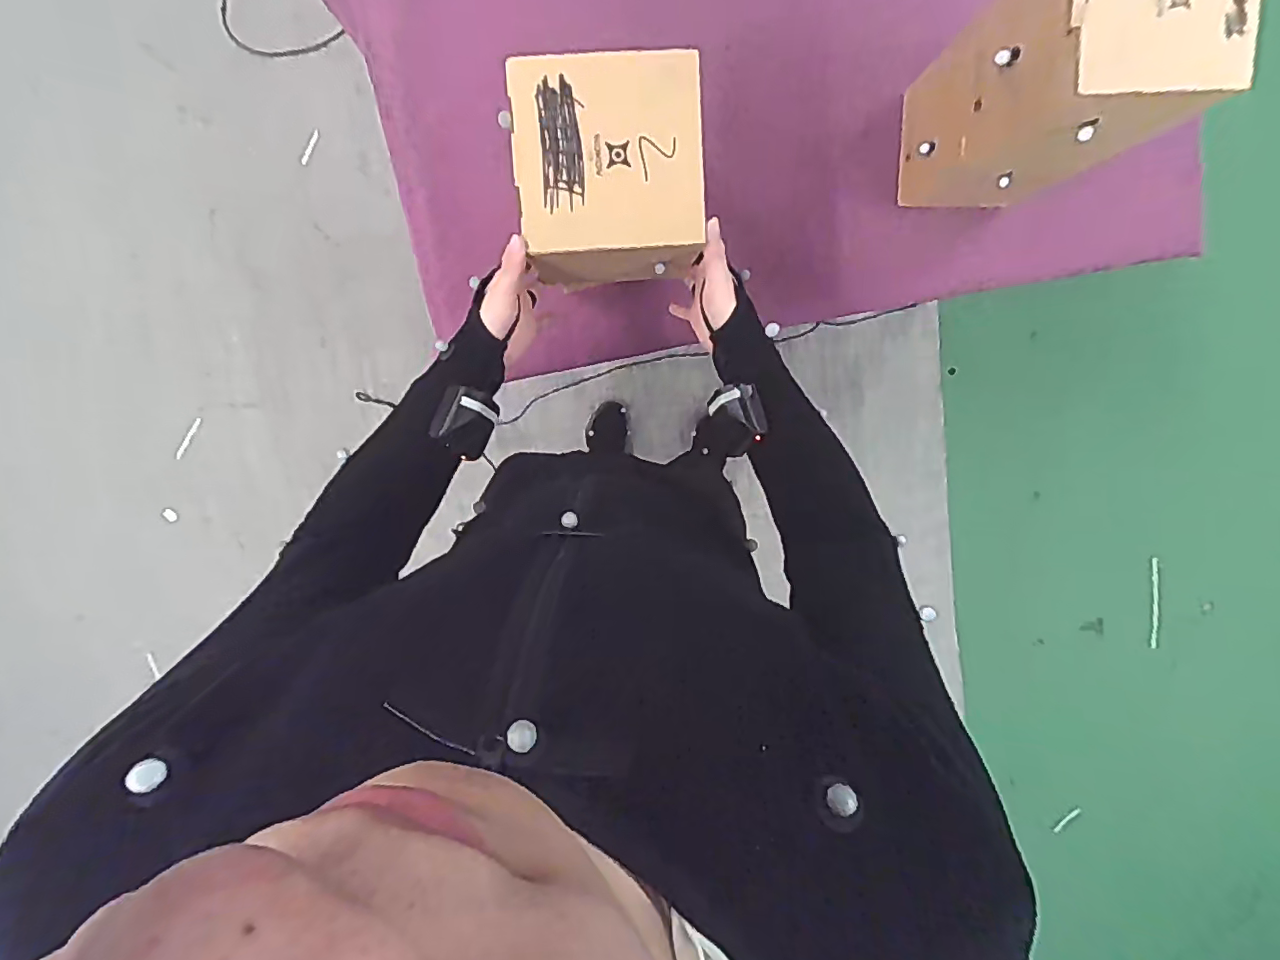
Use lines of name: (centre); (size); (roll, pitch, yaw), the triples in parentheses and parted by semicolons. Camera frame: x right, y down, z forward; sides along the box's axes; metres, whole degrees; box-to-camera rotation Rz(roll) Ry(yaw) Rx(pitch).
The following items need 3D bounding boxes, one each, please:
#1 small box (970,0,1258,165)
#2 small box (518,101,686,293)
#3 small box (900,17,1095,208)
small box: (0.490, -0.460, 0.583); (0.179, 0.176, 0.168); (-3, 100, -1)
small box: (-0.049, -0.372, 0.742); (0.179, 0.176, 0.168); (-16, 100, 1)
small box: (0.484, -0.489, 0.744); (0.179, 0.176, 0.168); (0, 100, -2)
